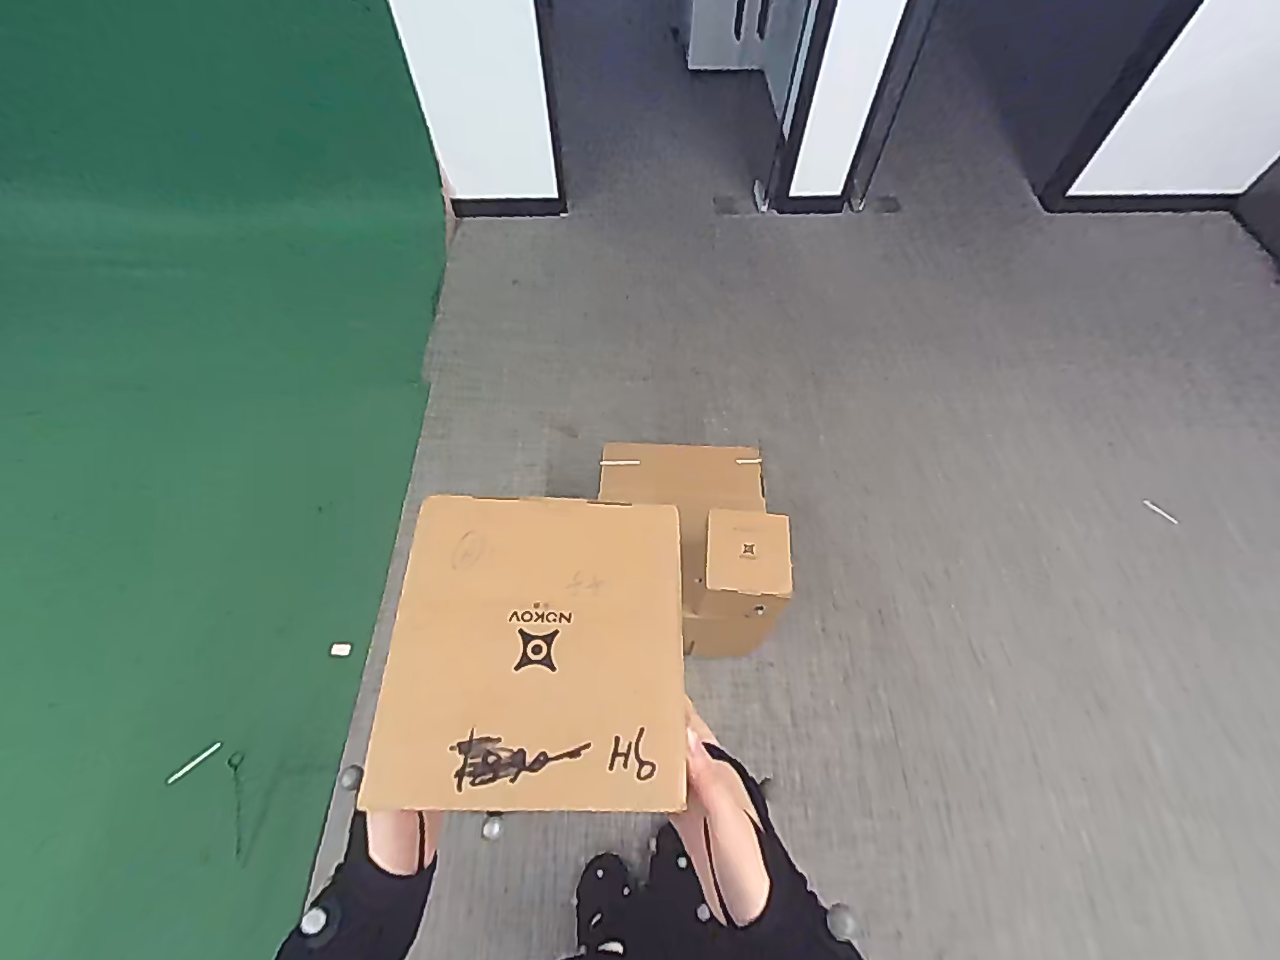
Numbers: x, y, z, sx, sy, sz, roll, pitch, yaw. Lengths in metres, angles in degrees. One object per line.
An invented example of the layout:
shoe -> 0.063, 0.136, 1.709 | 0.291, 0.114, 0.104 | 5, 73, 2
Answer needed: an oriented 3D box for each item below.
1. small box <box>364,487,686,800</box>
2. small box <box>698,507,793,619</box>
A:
small box -> -0.060, 0.122, 0.382 | 0.168, 0.176, 0.179 | 2, 61, -2
small box -> 0.214, 0.177, 1.119 | 0.168, 0.176, 0.179 | 6, 58, 2
